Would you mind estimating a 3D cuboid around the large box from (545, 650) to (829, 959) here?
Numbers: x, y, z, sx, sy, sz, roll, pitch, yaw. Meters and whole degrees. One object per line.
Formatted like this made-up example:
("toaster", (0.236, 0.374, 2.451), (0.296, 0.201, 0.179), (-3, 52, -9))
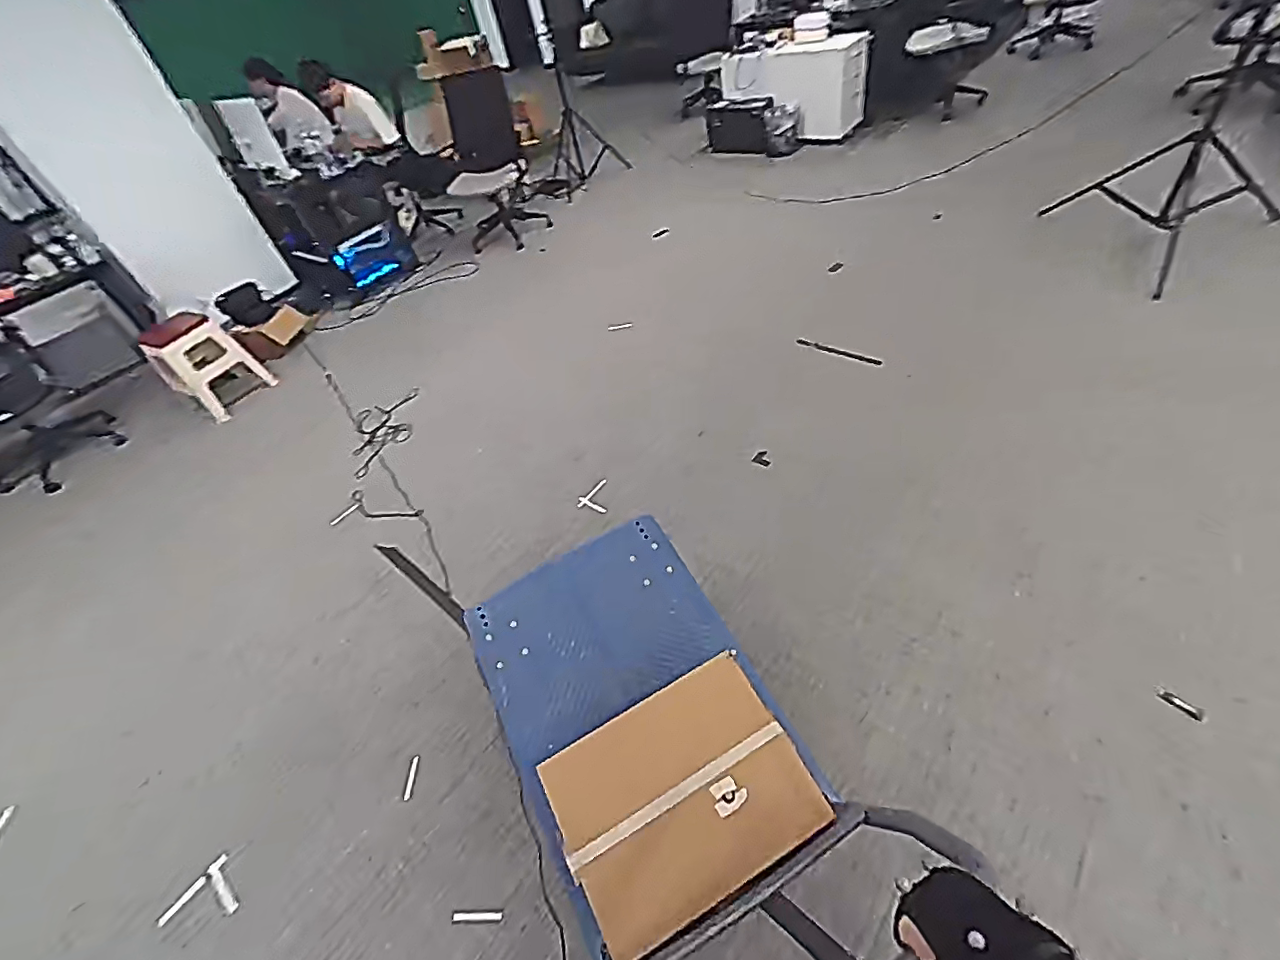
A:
("large box", (0.083, 0.607, 1.052), (0.408, 0.320, 0.320), (-27, 60, -12))
